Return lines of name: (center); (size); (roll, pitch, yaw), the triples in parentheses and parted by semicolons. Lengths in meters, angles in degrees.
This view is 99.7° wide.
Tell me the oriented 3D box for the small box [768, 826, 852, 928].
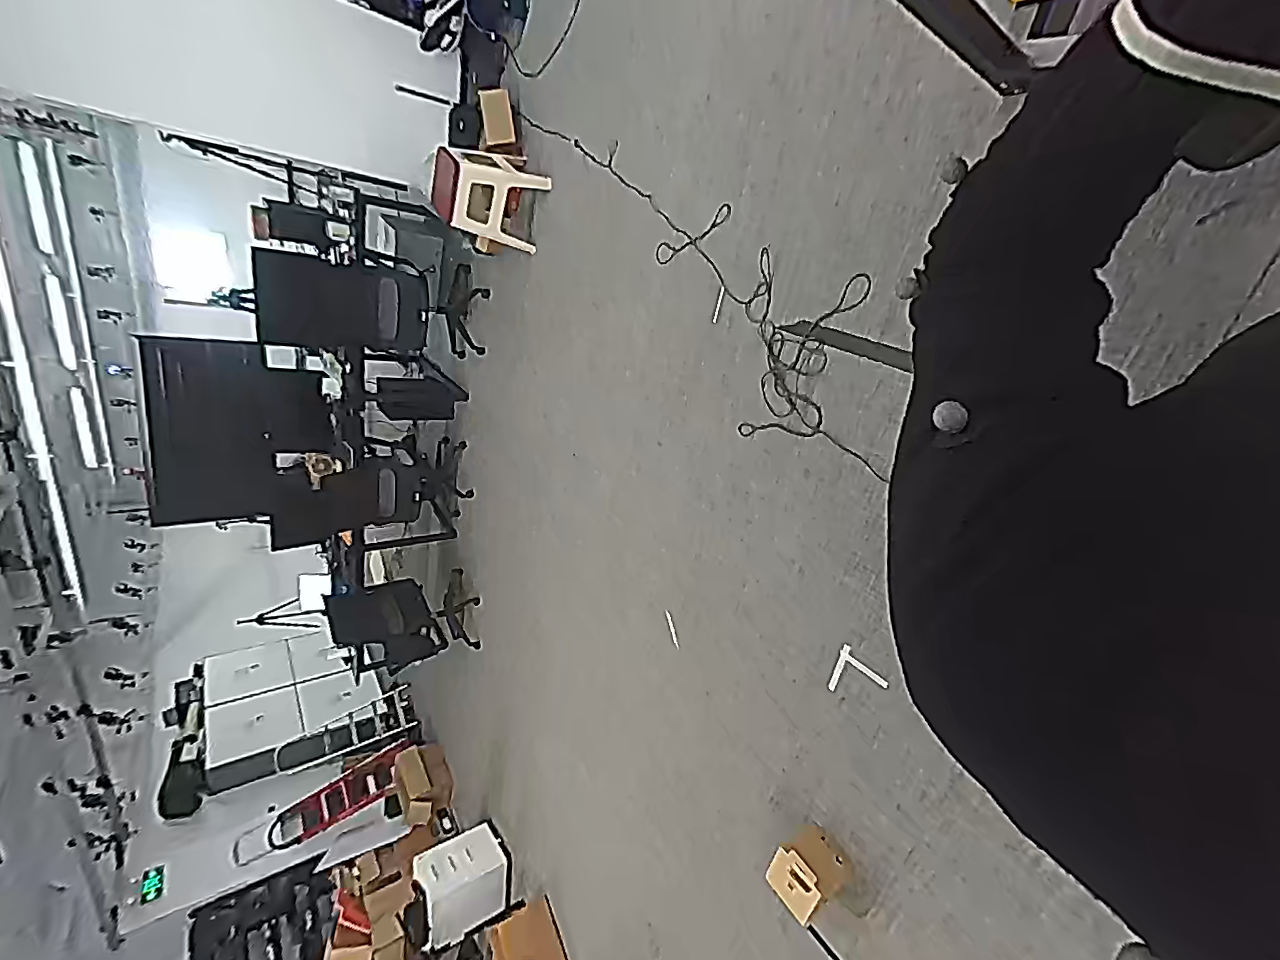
small box: (0.546, 1.255, 1.722); (0.168, 0.176, 0.179); (38, 125, 44)
